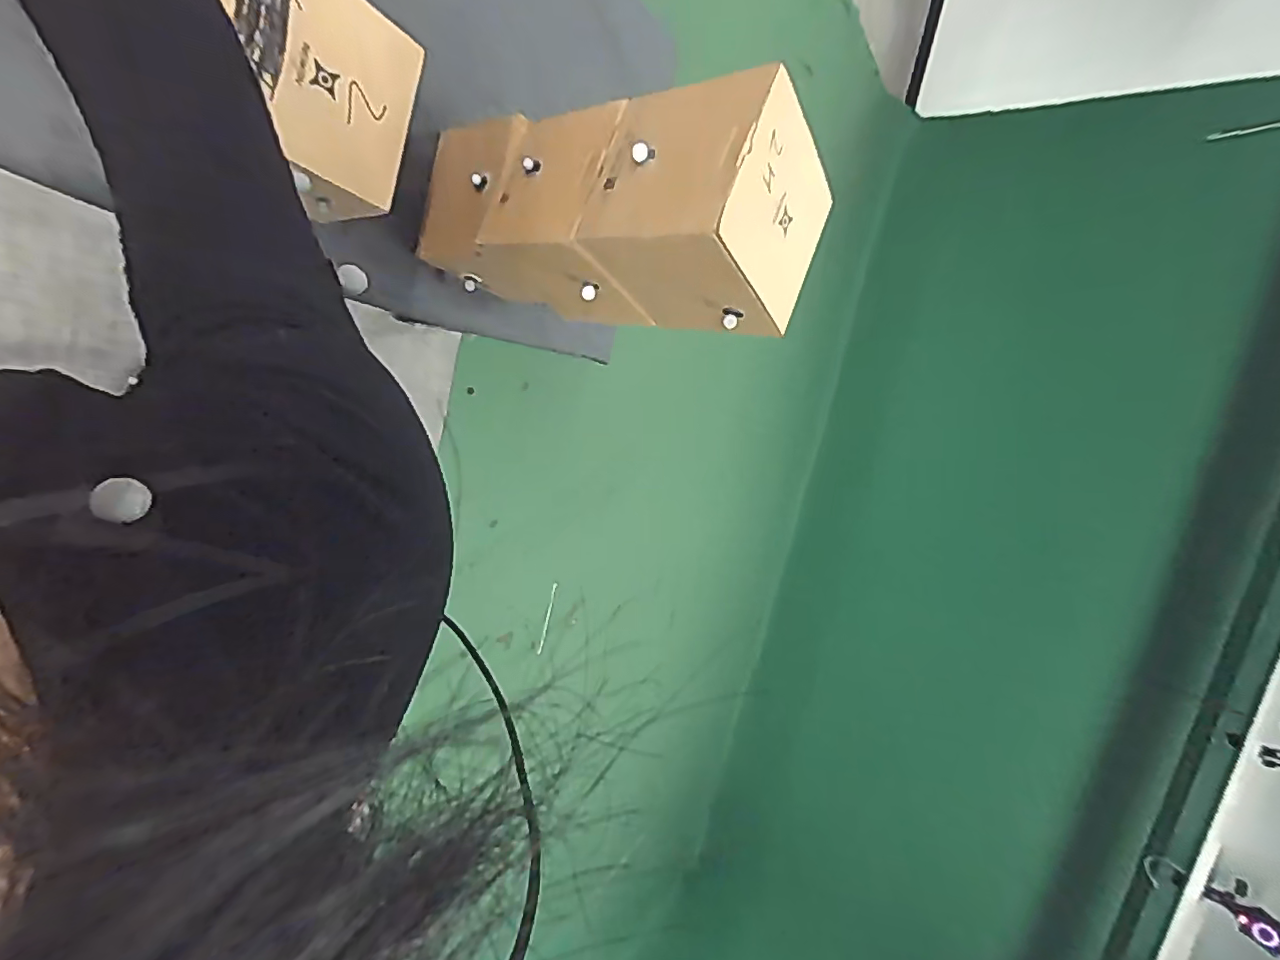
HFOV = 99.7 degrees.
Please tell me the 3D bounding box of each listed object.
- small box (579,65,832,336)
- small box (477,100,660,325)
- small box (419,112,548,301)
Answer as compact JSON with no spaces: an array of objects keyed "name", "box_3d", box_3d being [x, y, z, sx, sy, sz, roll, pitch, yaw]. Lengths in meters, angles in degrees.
[{"name":"small box","box_3d":[0.071,-0.271,0.559,0.179,0.176,0.168,28,81,-52]},{"name":"small box","box_3d":[-0.058,-0.309,0.655,0.179,0.176,0.168,26,83,-52]},{"name":"small box","box_3d":[-0.180,-0.363,0.750,0.168,0.176,0.179,8,98,-53]}]
